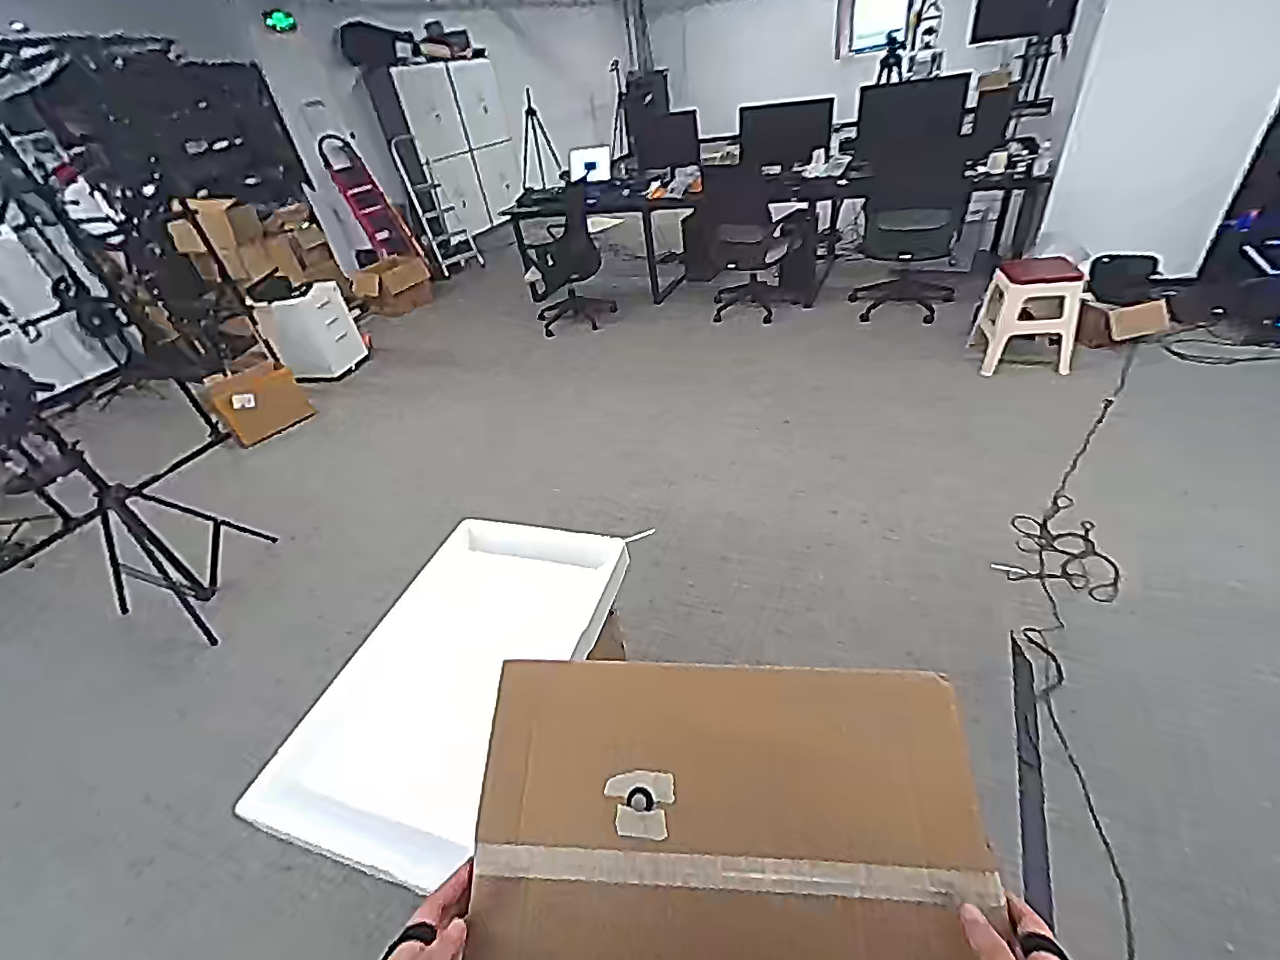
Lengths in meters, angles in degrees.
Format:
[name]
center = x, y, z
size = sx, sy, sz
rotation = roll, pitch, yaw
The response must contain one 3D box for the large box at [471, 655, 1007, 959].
[large box]
center = 0.084, 0.367, 0.562
size = 0.408, 0.320, 0.320
rotation = -1, 62, 6
